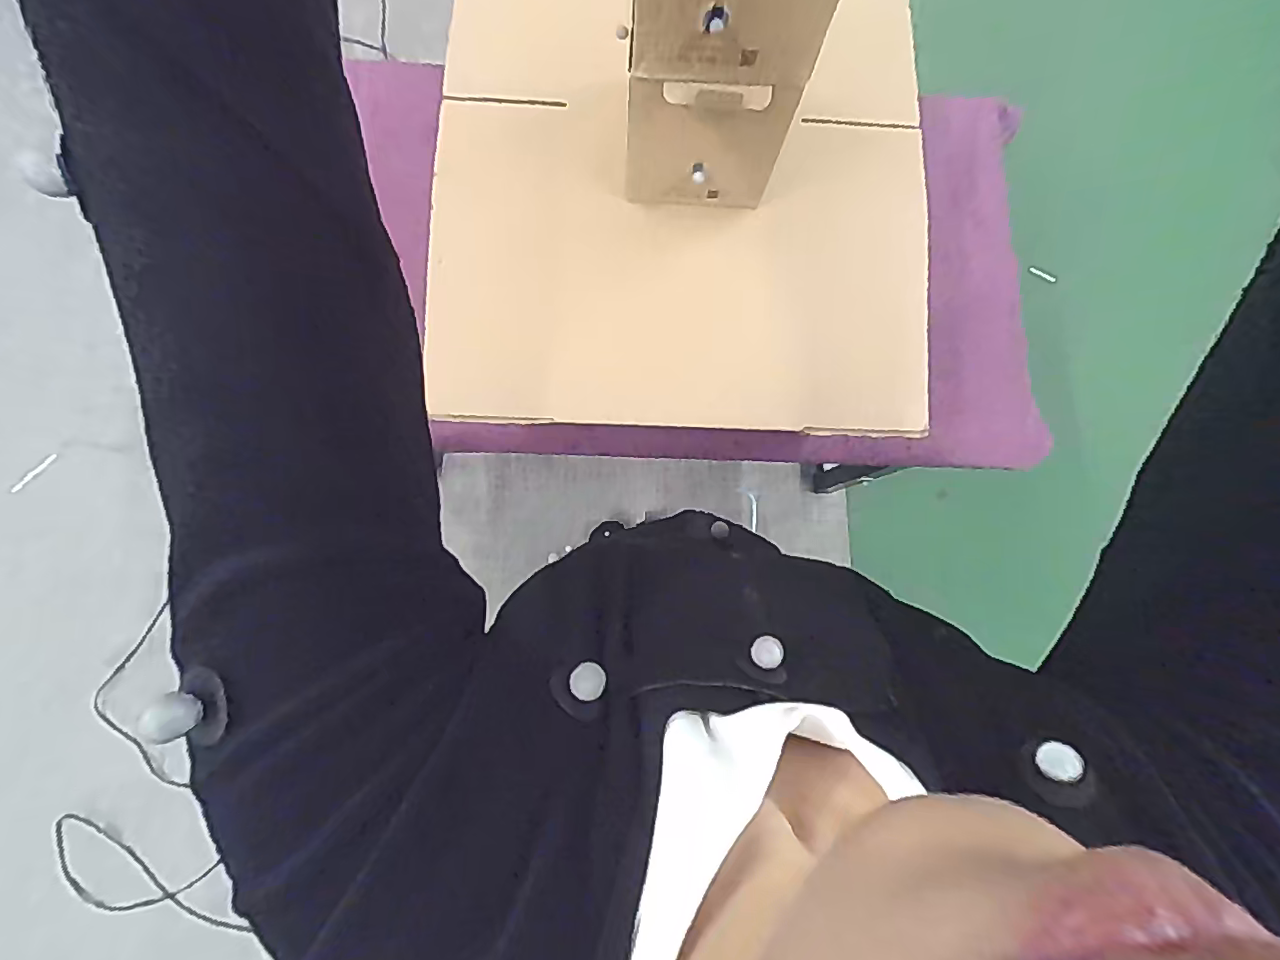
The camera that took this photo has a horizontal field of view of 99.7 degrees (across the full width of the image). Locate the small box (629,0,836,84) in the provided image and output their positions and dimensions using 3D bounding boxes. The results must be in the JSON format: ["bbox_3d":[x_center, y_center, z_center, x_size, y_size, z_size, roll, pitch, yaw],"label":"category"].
[{"bbox_3d":[0.077,-0.467,0.429,0.168,0.176,0.179,1,80,-4],"label":"small box"}]

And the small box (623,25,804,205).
[{"bbox_3d":[0.068,-0.438,0.589,0.168,0.176,0.179,2,80,-3],"label":"small box"}]
